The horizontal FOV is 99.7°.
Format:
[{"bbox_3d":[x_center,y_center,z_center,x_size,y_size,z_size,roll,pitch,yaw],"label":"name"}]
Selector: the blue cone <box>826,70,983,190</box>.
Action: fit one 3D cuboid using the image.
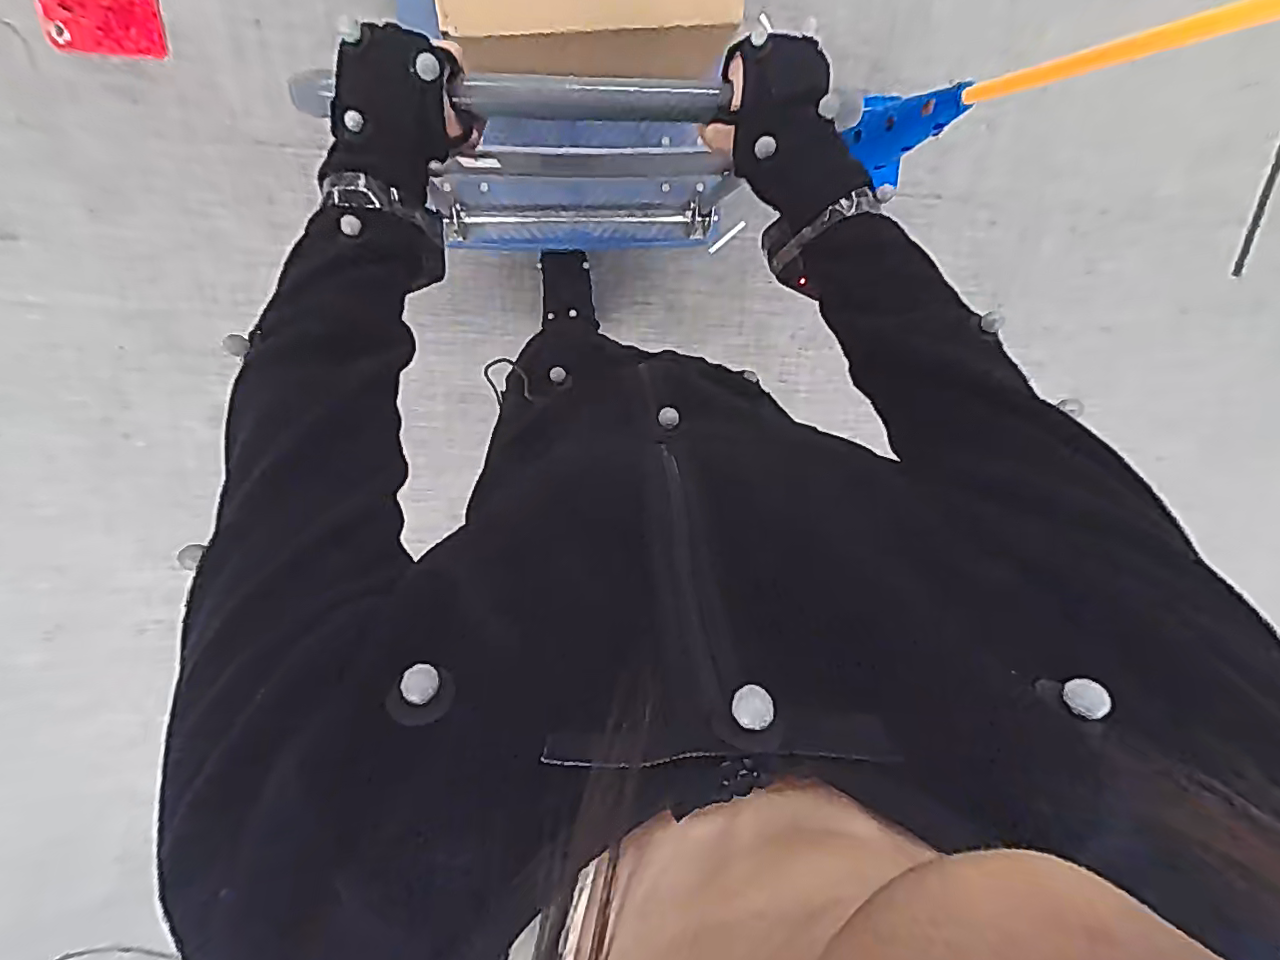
[{"bbox_3d":[0.544,-0.727,1.097,0.193,0.380,0.192,-3,109,-8],"label":"blue cone"}]
